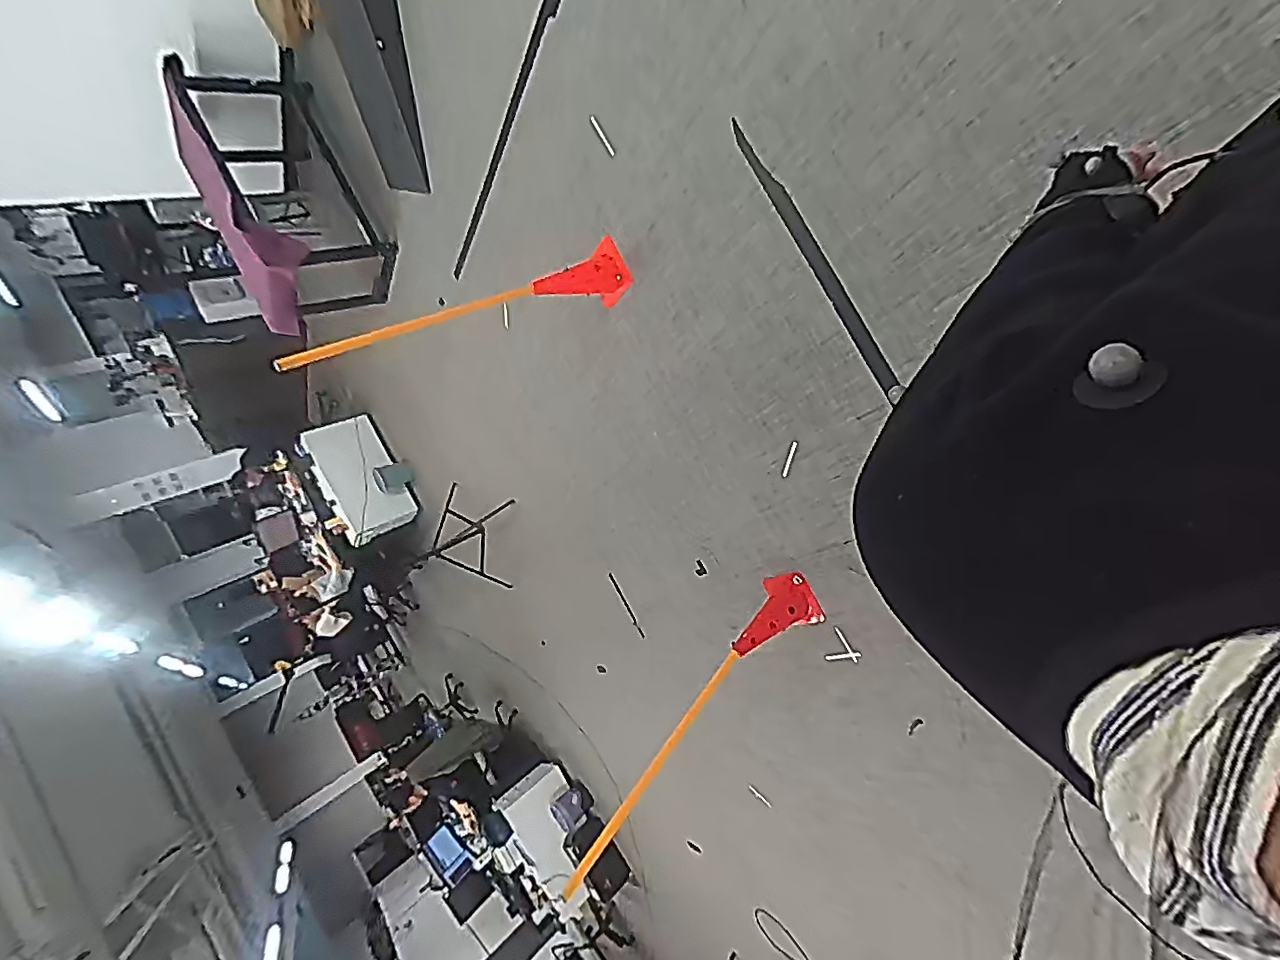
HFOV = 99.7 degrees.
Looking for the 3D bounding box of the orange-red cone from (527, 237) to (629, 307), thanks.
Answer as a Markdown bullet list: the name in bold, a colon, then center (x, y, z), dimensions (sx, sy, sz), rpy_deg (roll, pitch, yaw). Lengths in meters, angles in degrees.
- **orange-red cone**: center (-0.249, -0.722, 1.945), dimensions (0.198, 0.360, 0.199), rpy_deg (-27, 89, 53)
